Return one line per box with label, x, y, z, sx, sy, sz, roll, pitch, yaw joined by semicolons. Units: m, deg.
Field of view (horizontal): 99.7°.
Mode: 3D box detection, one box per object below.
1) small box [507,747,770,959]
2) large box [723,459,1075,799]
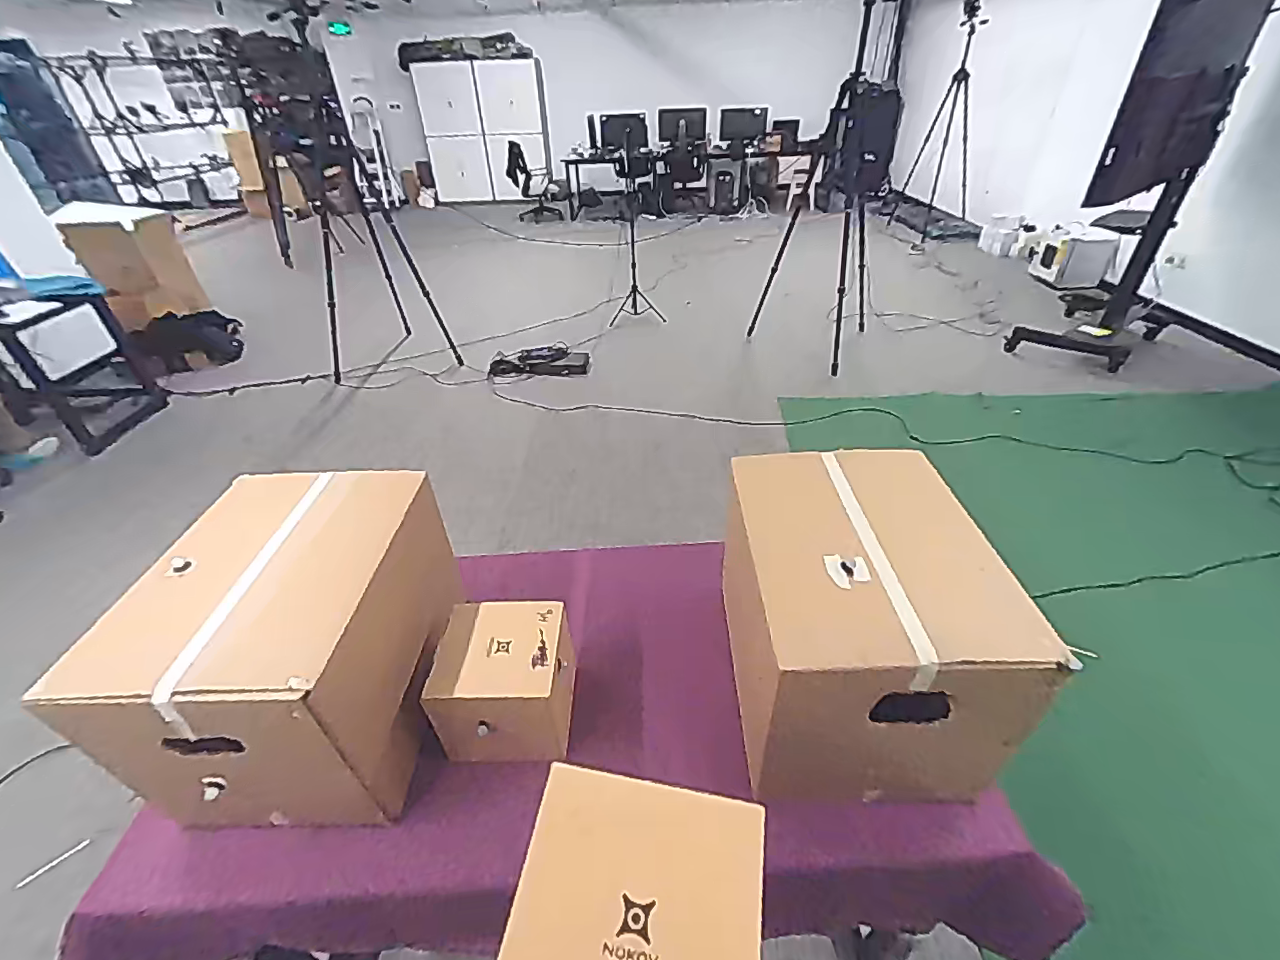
small box;0.001;0.344;0.426;0.168;0.176;0.179;9;47;7
large box;0.313;0.206;0.821;0.320;0.320;0.408;-1;37;2
